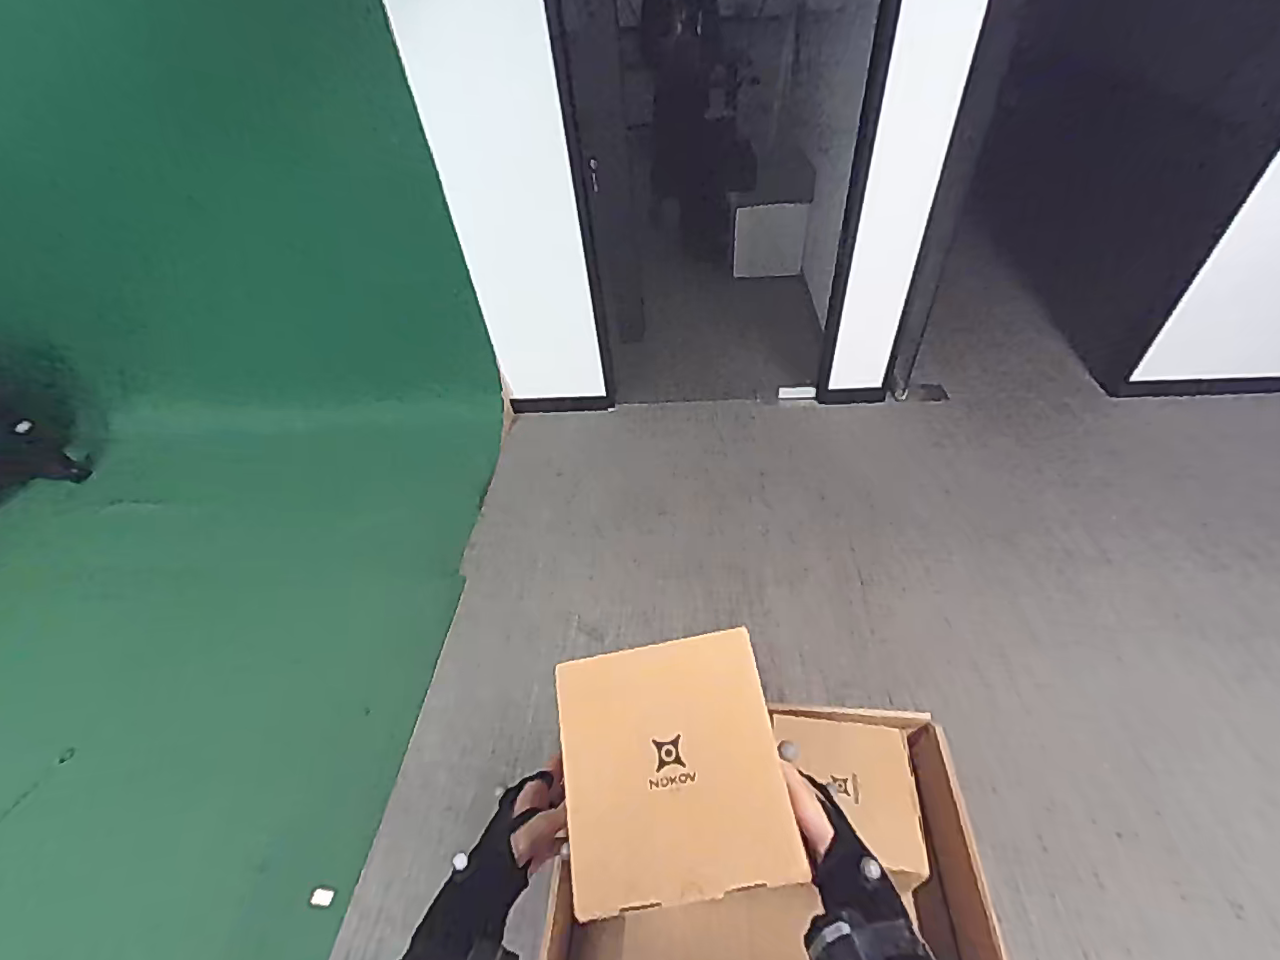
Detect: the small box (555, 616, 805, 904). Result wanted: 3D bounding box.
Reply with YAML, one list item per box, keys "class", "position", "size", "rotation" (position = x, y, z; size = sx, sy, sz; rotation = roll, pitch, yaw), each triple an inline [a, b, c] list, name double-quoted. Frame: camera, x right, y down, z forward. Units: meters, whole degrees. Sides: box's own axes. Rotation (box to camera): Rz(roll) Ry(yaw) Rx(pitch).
- class: "small box"
  position: [0.029, 0.239, 0.476]
  size: [0.168, 0.176, 0.179]
  rotation: [-12, 61, 2]
